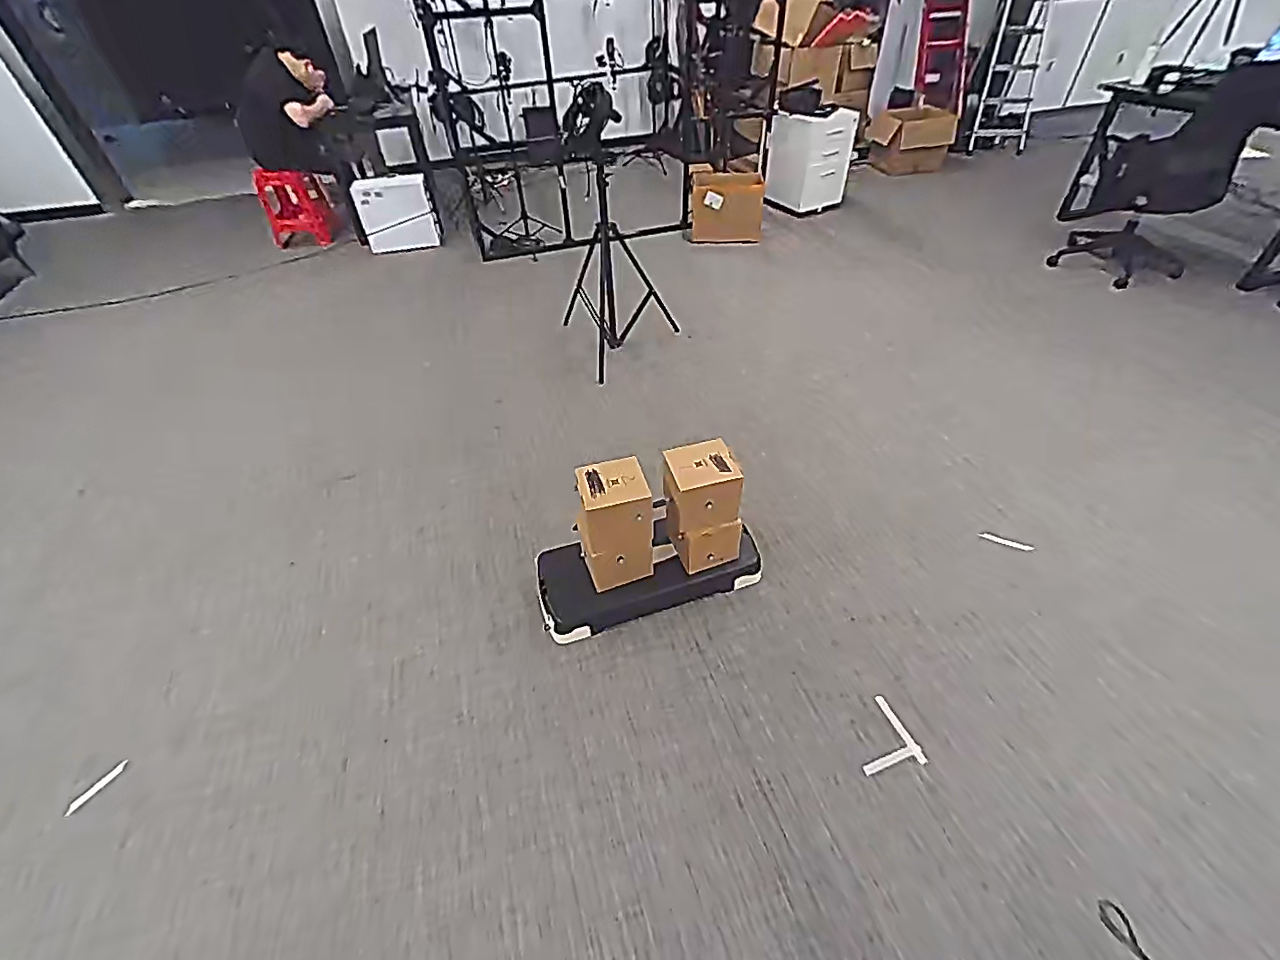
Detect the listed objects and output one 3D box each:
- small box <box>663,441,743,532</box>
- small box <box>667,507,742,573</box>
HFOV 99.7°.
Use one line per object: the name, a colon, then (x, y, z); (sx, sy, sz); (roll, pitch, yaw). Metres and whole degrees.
small box: (0.168, 0.018, 1.503); (0.179, 0.176, 0.168); (-13, 45, -8)
small box: (0.183, 0.145, 1.609); (0.168, 0.176, 0.179); (-16, 46, -13)
